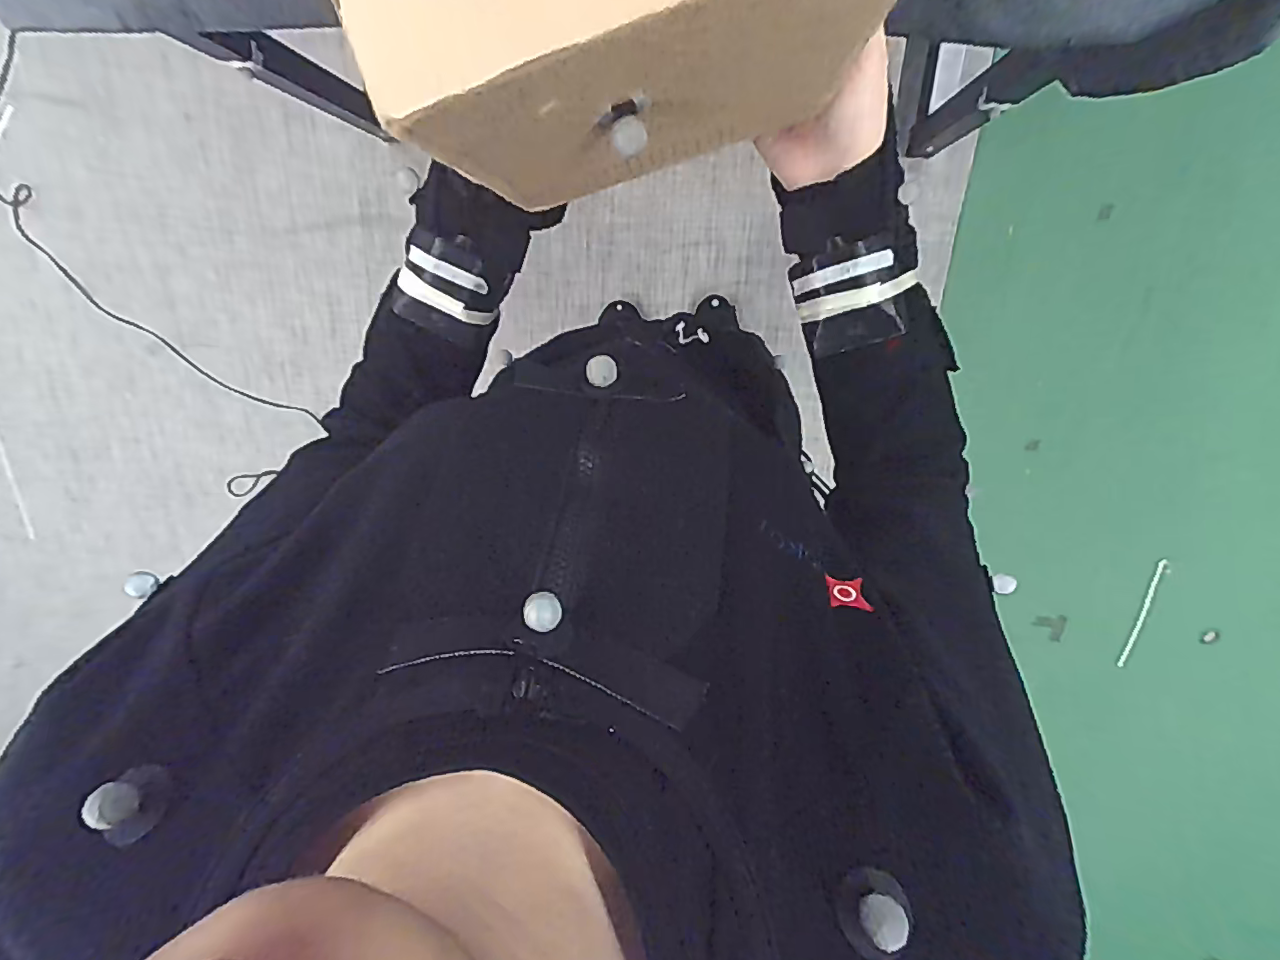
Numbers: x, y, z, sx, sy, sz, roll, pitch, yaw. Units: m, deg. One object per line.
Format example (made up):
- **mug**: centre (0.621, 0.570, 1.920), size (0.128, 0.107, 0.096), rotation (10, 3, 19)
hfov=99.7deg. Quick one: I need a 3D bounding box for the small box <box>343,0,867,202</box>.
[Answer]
- **small box**: centre (-0.011, -0.230, 0.209), size (0.179, 0.176, 0.168), rotation (-15, 106, 11)
